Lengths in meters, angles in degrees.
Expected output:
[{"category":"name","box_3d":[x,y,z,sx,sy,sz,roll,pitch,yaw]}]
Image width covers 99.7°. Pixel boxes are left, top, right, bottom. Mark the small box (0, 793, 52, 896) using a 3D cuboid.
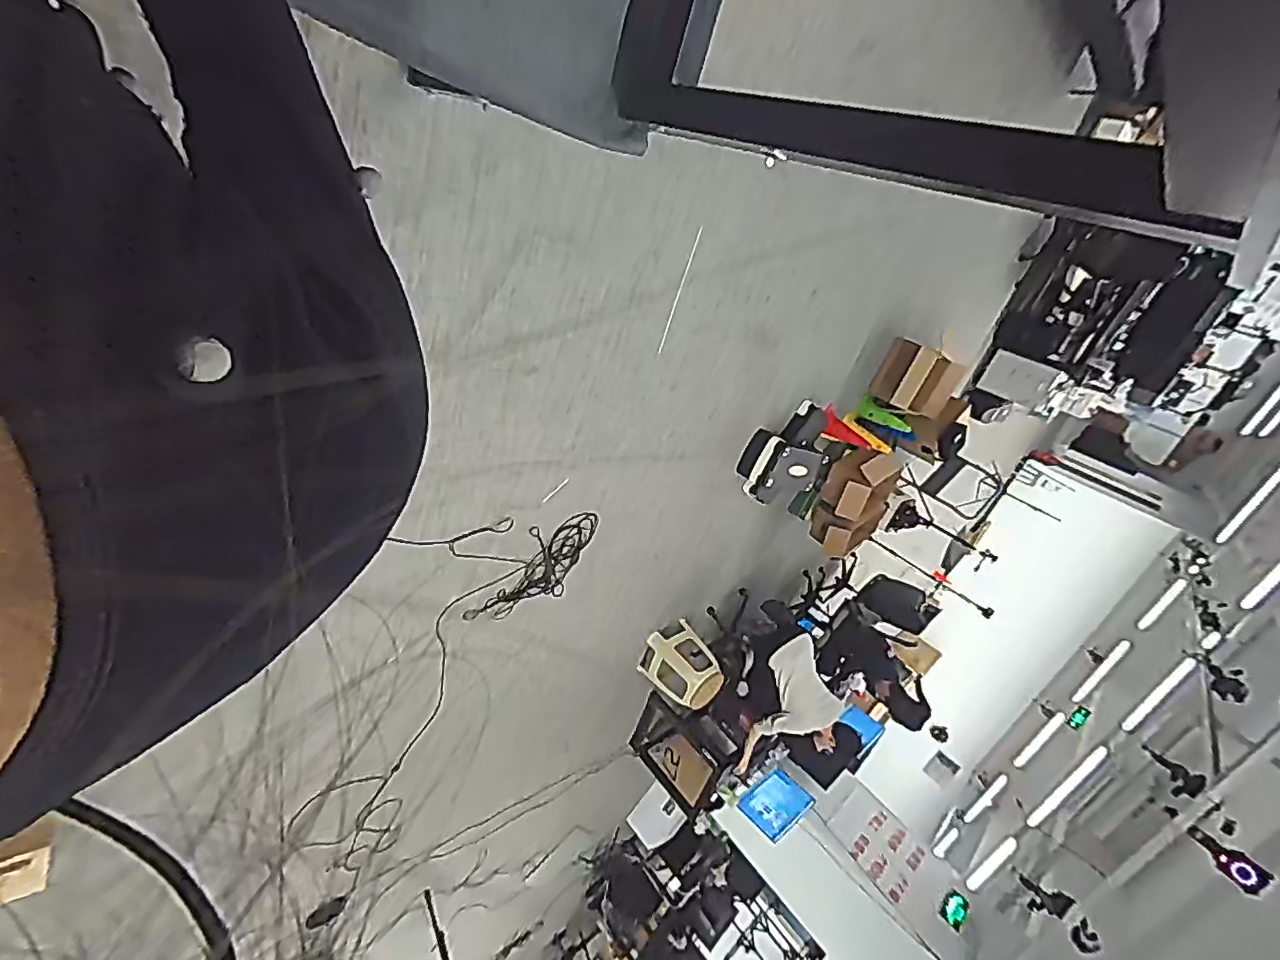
[{"category":"small box","box_3d":[-1.658,0.952,1.405,0.168,0.176,0.179,4,118,-49]}]
